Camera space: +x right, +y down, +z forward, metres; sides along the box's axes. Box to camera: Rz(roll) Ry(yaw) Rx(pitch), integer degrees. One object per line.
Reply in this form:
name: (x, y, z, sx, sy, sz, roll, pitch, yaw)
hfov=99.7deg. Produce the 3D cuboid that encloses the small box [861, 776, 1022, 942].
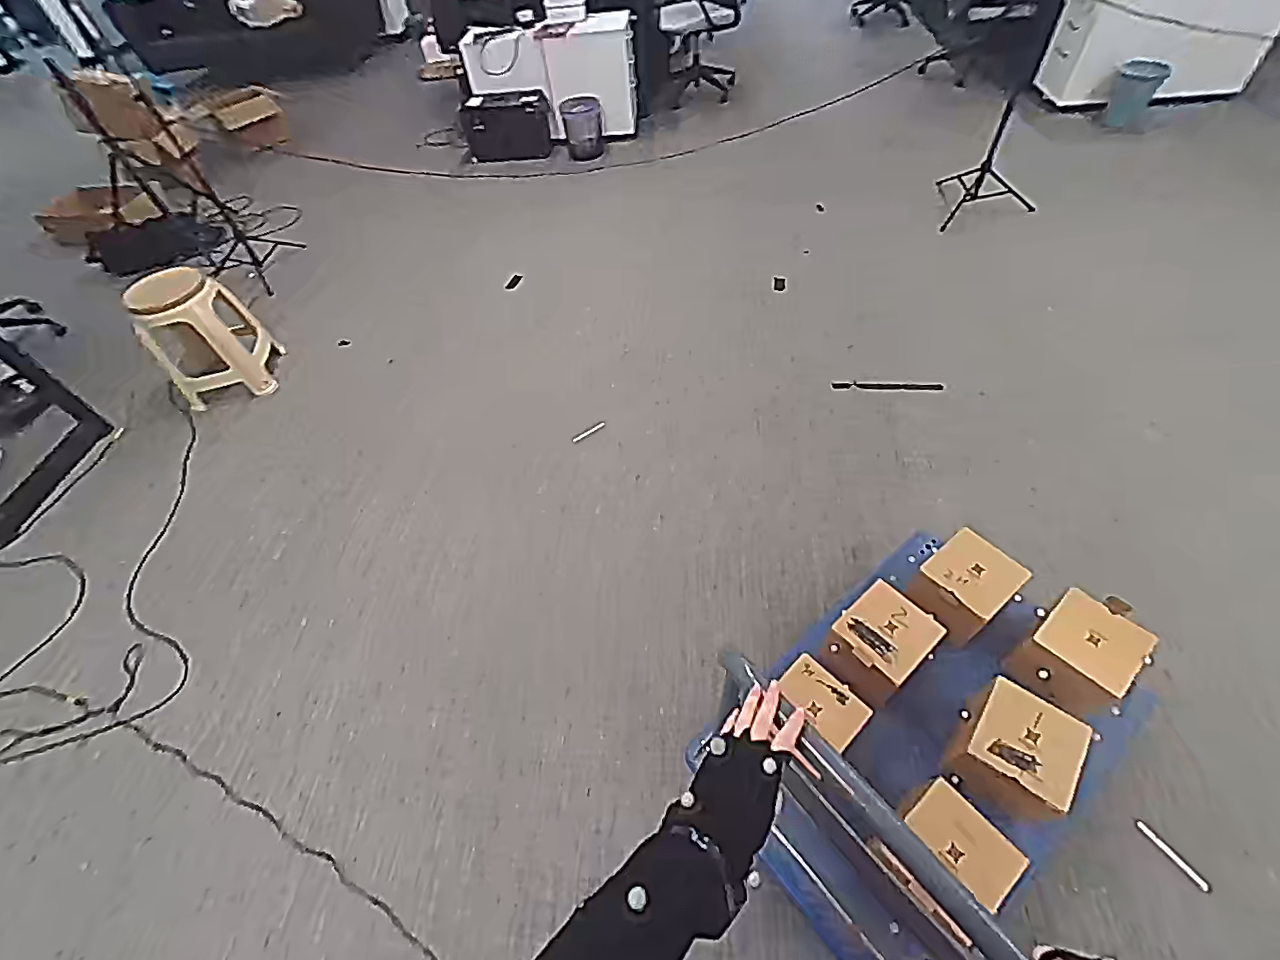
small box: (0.523, 0.676, 0.969, 0.179, 0.176, 0.168, -34, 57, -20)

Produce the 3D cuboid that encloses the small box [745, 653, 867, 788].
small box: (0.334, 0.502, 1.119, 0.179, 0.176, 0.168, -38, 59, -21)

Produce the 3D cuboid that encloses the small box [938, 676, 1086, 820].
small box: (0.715, 0.529, 1.060, 0.168, 0.176, 0.179, 31, 61, 26)

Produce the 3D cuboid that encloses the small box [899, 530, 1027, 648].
small box: (0.743, 0.256, 1.266, 0.179, 0.176, 0.168, -33, 56, -18)

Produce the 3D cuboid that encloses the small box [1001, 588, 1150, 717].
small box: (0.917, 0.373, 1.159, 0.179, 0.176, 0.168, -37, 57, -21)
